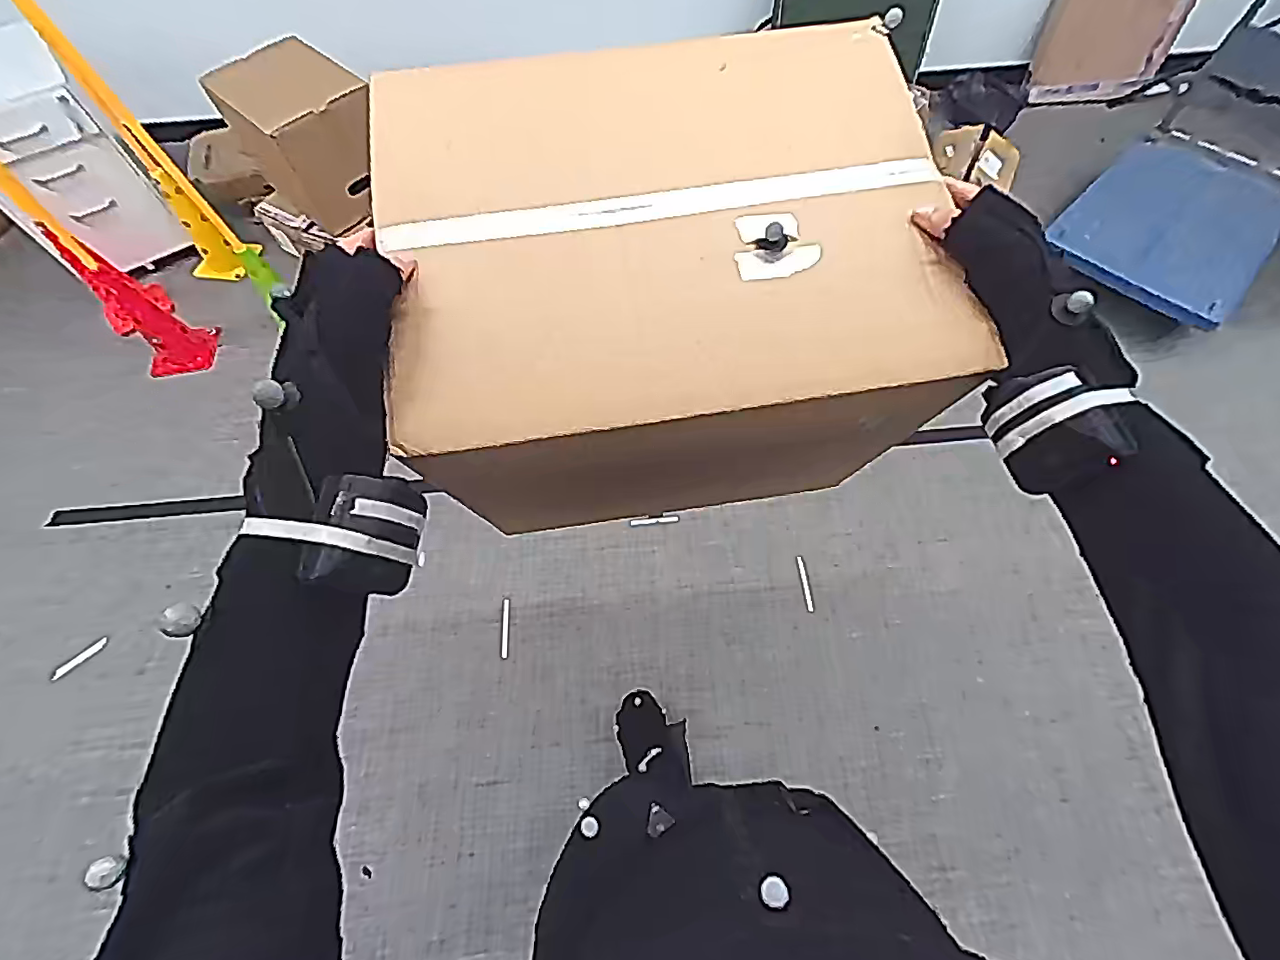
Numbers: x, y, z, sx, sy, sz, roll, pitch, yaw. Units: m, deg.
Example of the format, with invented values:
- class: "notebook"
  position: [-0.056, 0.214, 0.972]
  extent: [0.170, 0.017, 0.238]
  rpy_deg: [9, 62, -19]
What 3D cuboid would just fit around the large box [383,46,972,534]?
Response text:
- class: "large box"
  position: [0.010, -0.150, 0.547]
  extent: [0.408, 0.320, 0.320]
  rpy_deg: [-9, 75, -3]
